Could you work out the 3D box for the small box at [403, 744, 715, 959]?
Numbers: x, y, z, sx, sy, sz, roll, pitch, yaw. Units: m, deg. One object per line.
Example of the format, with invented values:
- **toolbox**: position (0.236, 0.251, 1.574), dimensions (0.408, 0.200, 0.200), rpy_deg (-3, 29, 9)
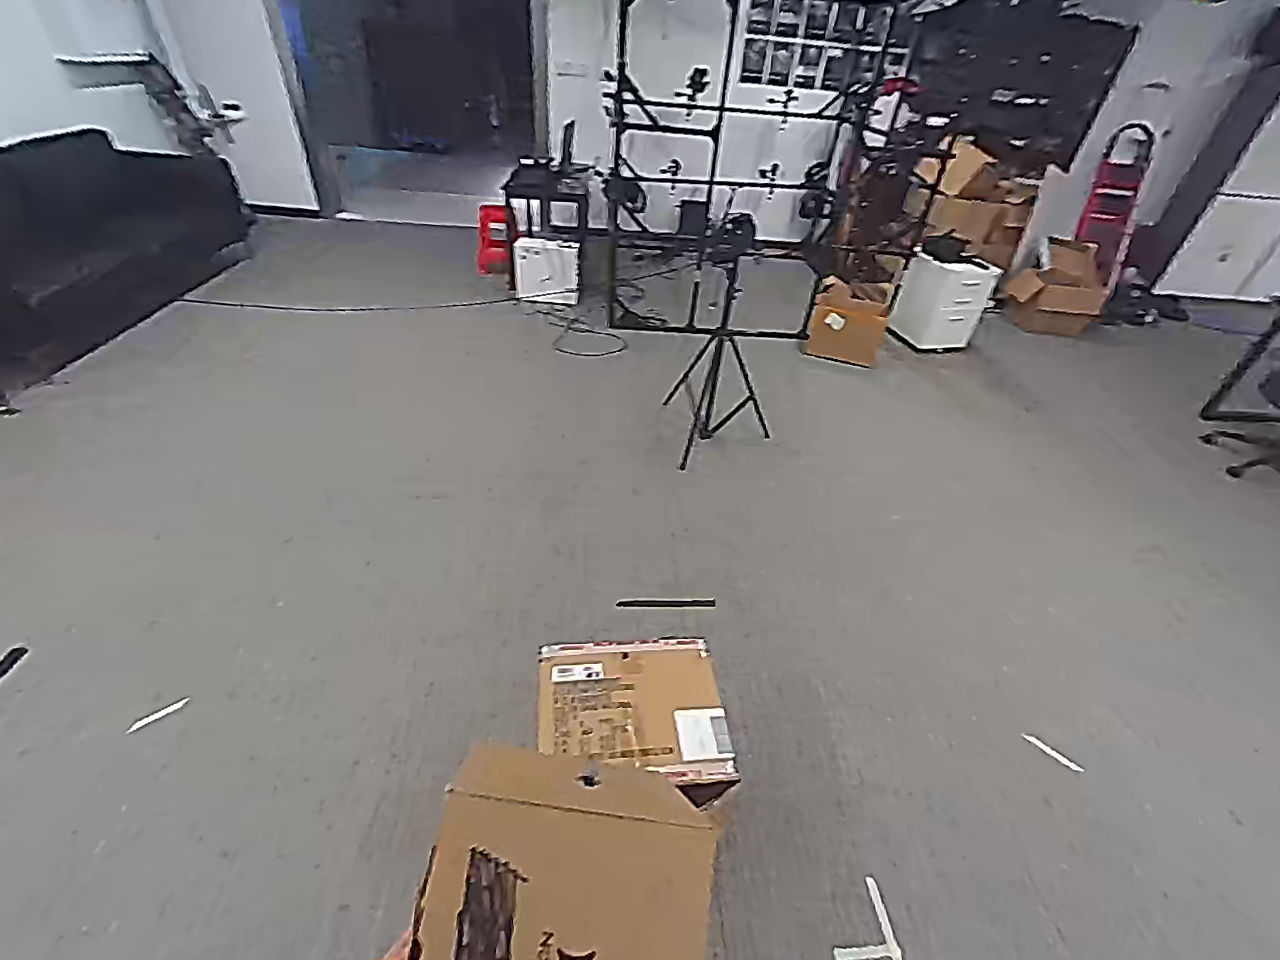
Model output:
- **small box**: position (-0.062, 0.301, 0.392), dimensions (0.179, 0.176, 0.168), rpy_deg (12, 71, -8)
